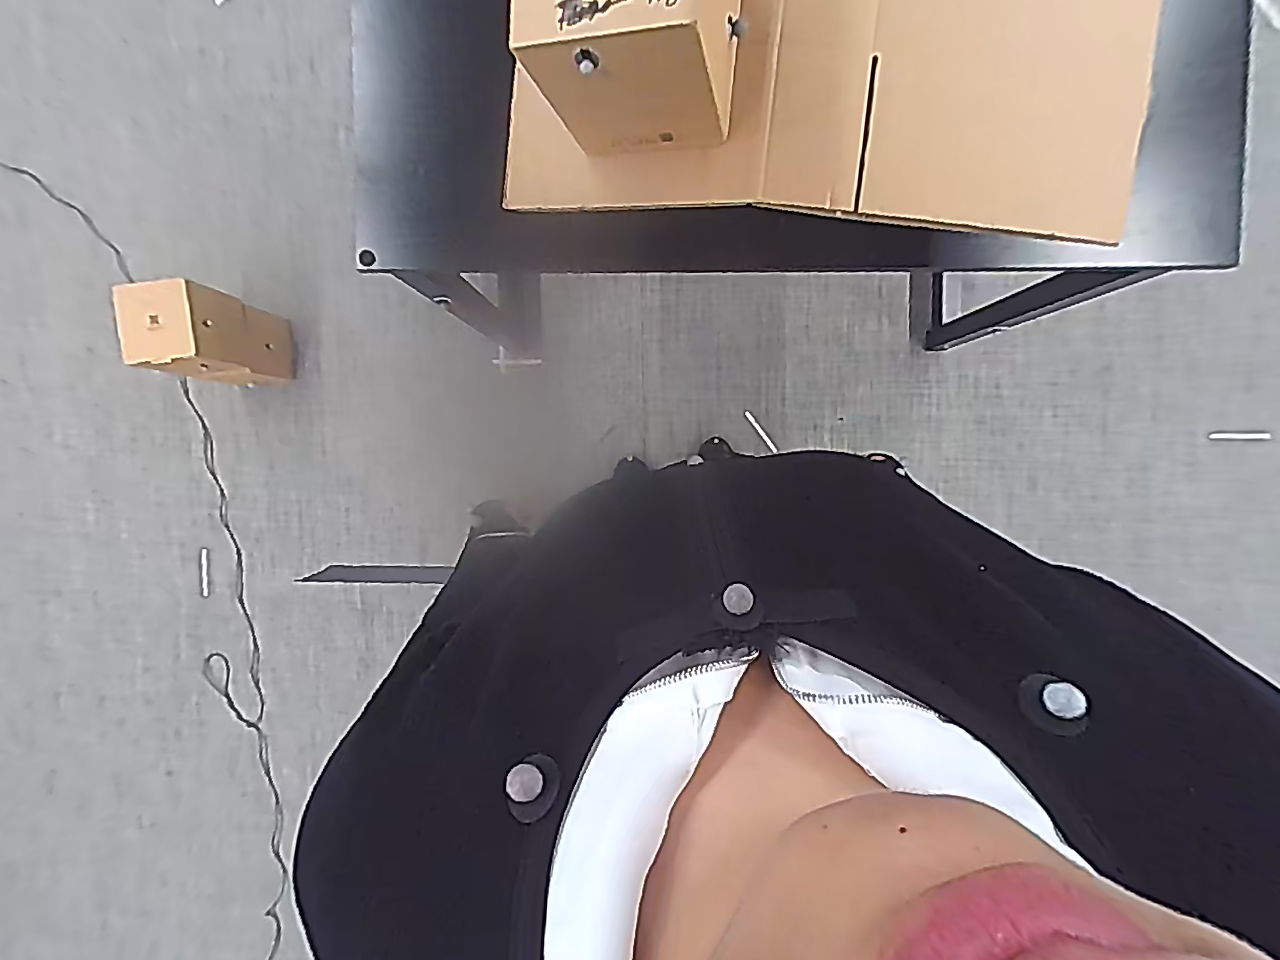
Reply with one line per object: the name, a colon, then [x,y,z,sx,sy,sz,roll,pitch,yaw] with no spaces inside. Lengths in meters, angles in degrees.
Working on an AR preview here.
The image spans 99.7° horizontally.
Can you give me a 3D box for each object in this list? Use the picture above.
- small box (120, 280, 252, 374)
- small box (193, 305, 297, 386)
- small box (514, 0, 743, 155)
small box: [-1.053,-0.350,1.271,0.168,0.176,0.179,-7,91,1]
small box: [-1.046,-0.352,1.434,0.168,0.176,0.179,-3,93,2]
small box: [0.002,-0.446,0.513,0.168,0.176,0.179,6,93,17]
